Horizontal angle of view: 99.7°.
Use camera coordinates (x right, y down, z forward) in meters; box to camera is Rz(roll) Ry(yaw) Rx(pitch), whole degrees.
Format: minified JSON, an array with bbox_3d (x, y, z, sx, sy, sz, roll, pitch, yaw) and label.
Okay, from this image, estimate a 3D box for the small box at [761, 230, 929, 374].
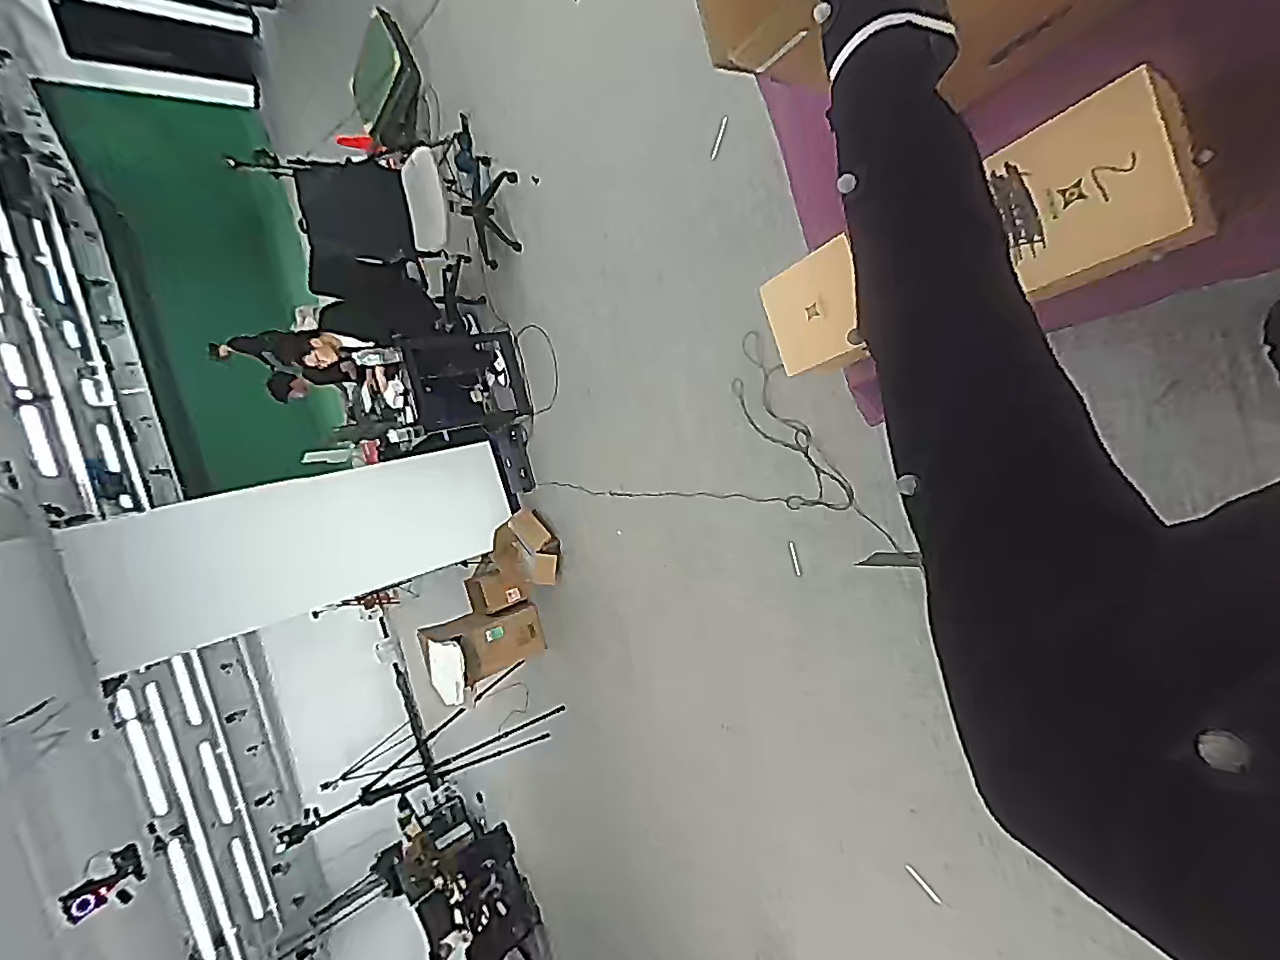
[{"bbox_3d":[0.338,-0.289,0.897,0.179,0.176,0.168,-19,88,54],"label":"small box"}]
